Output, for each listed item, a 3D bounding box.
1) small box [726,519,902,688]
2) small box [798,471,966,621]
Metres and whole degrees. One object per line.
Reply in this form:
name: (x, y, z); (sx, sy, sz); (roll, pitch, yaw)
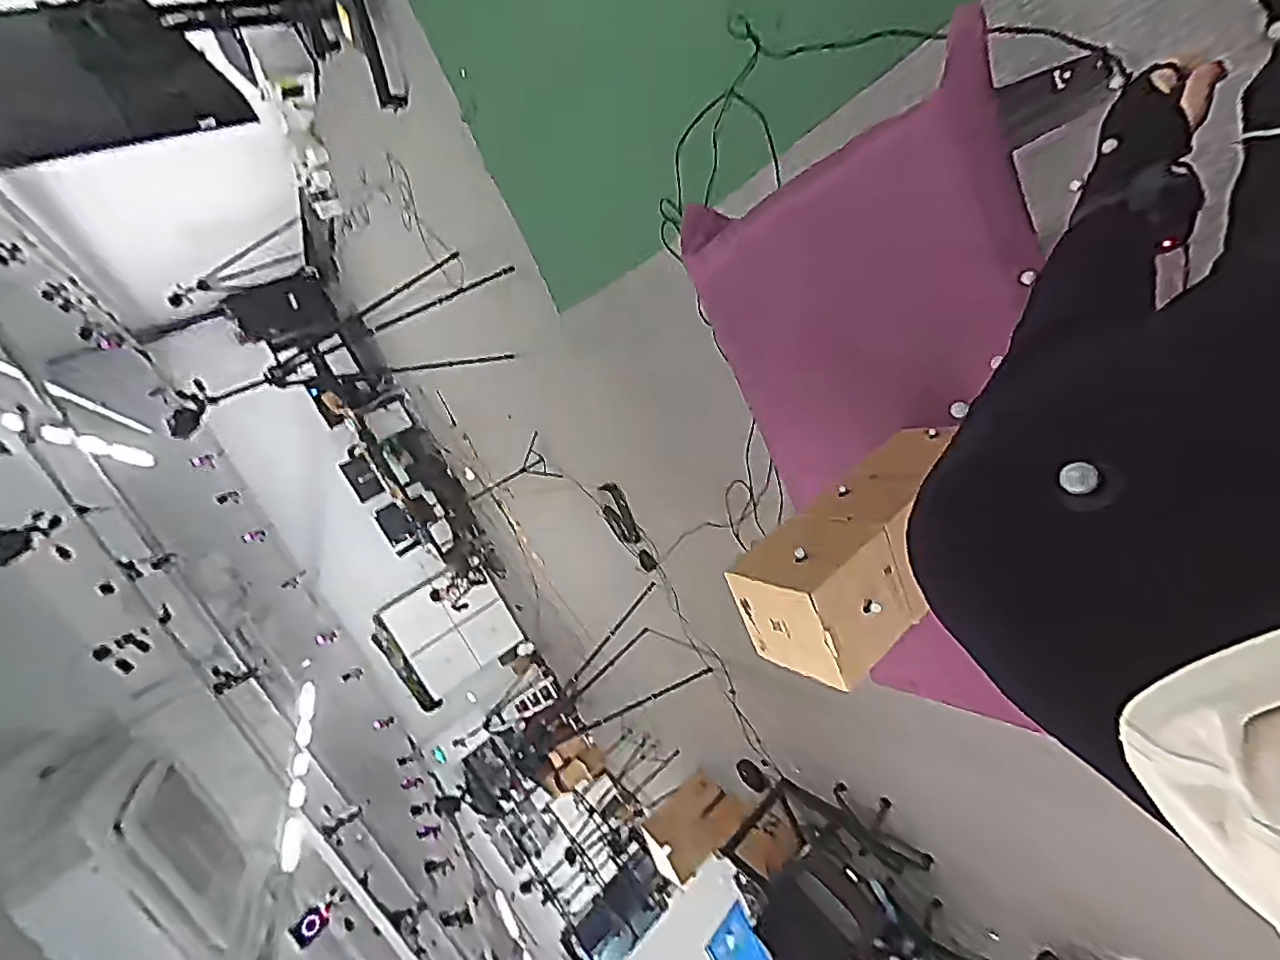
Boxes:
small box: (0.267, 0.171, 0.815); (0.179, 0.176, 0.168); (2, 119, 58)
small box: (0.395, 0.095, 0.882); (0.168, 0.176, 0.179); (3, 120, 59)
